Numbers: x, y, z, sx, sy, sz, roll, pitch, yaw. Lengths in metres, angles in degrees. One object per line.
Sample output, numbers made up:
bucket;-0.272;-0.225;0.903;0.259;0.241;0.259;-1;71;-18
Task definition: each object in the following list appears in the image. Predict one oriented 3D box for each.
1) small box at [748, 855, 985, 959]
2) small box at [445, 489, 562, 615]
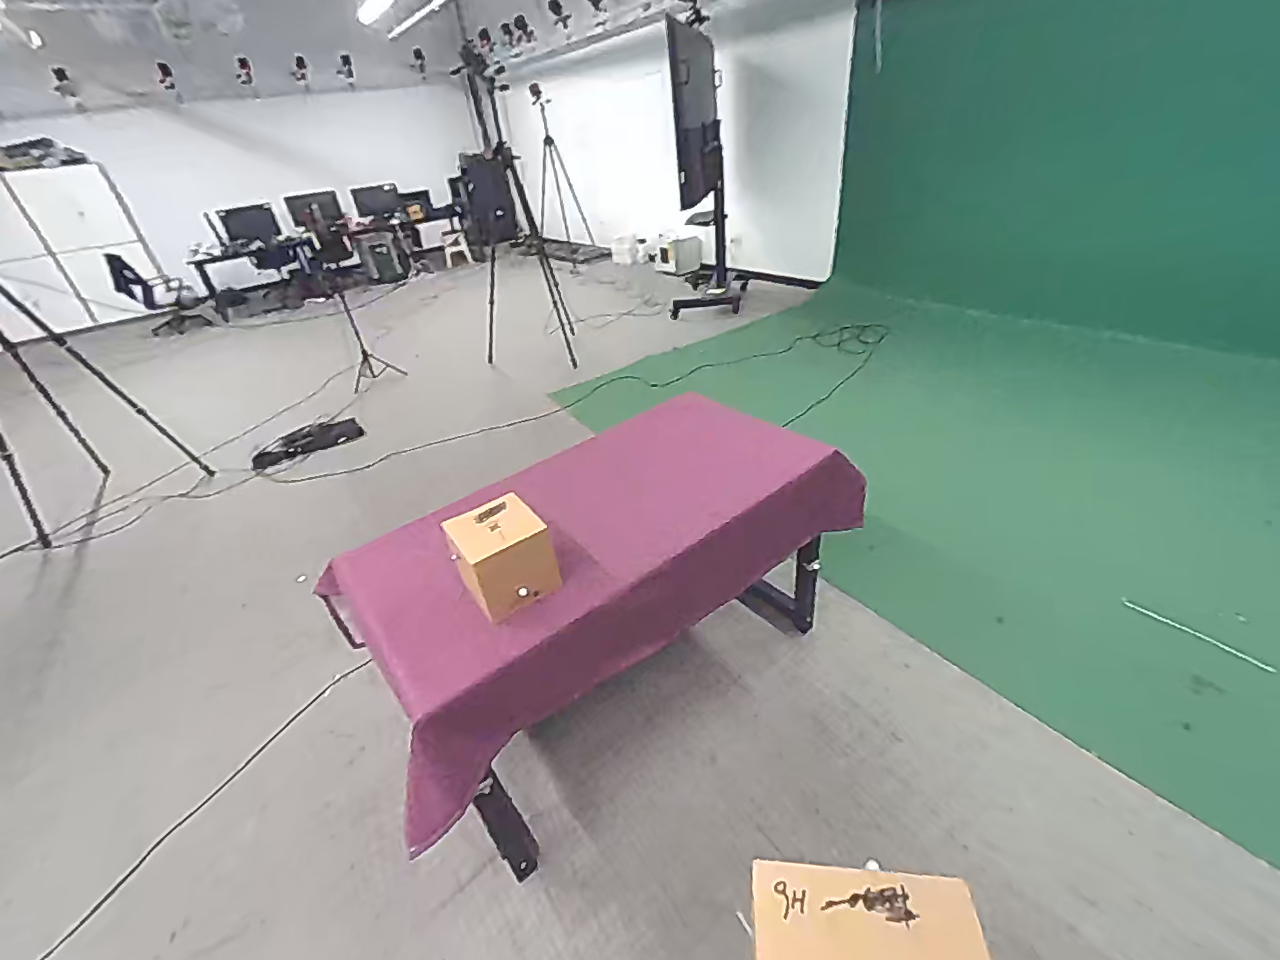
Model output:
small box;0.172;0.428;0.421;0.168;0.176;0.179;-2;38;9
small box;-0.287;0.151;1.146;0.168;0.176;0.179;-27;39;-26
